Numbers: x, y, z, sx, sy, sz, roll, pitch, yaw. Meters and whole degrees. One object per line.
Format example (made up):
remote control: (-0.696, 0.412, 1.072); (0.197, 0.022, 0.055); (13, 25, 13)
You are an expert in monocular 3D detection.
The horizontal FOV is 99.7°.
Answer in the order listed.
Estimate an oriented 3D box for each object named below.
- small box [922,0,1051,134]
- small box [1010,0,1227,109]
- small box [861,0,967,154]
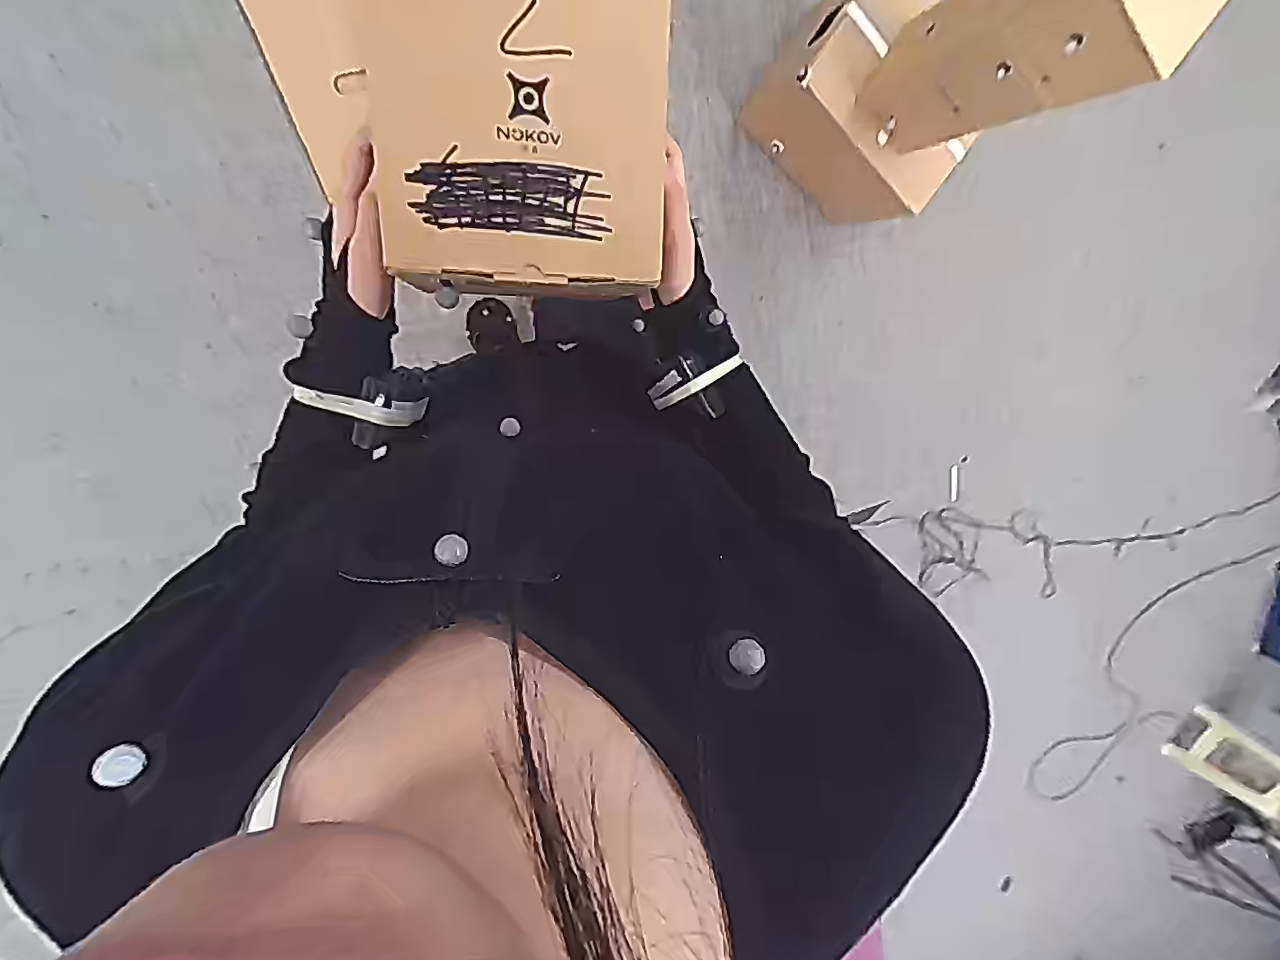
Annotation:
small box: (0.617, -0.724, 0.898); (0.168, 0.176, 0.179); (32, 98, -24)
small box: (0.662, -0.666, 0.752); (0.168, 0.176, 0.179); (31, 98, -24)
small box: (0.572, -0.776, 1.046); (0.168, 0.176, 0.179); (31, 99, -24)
